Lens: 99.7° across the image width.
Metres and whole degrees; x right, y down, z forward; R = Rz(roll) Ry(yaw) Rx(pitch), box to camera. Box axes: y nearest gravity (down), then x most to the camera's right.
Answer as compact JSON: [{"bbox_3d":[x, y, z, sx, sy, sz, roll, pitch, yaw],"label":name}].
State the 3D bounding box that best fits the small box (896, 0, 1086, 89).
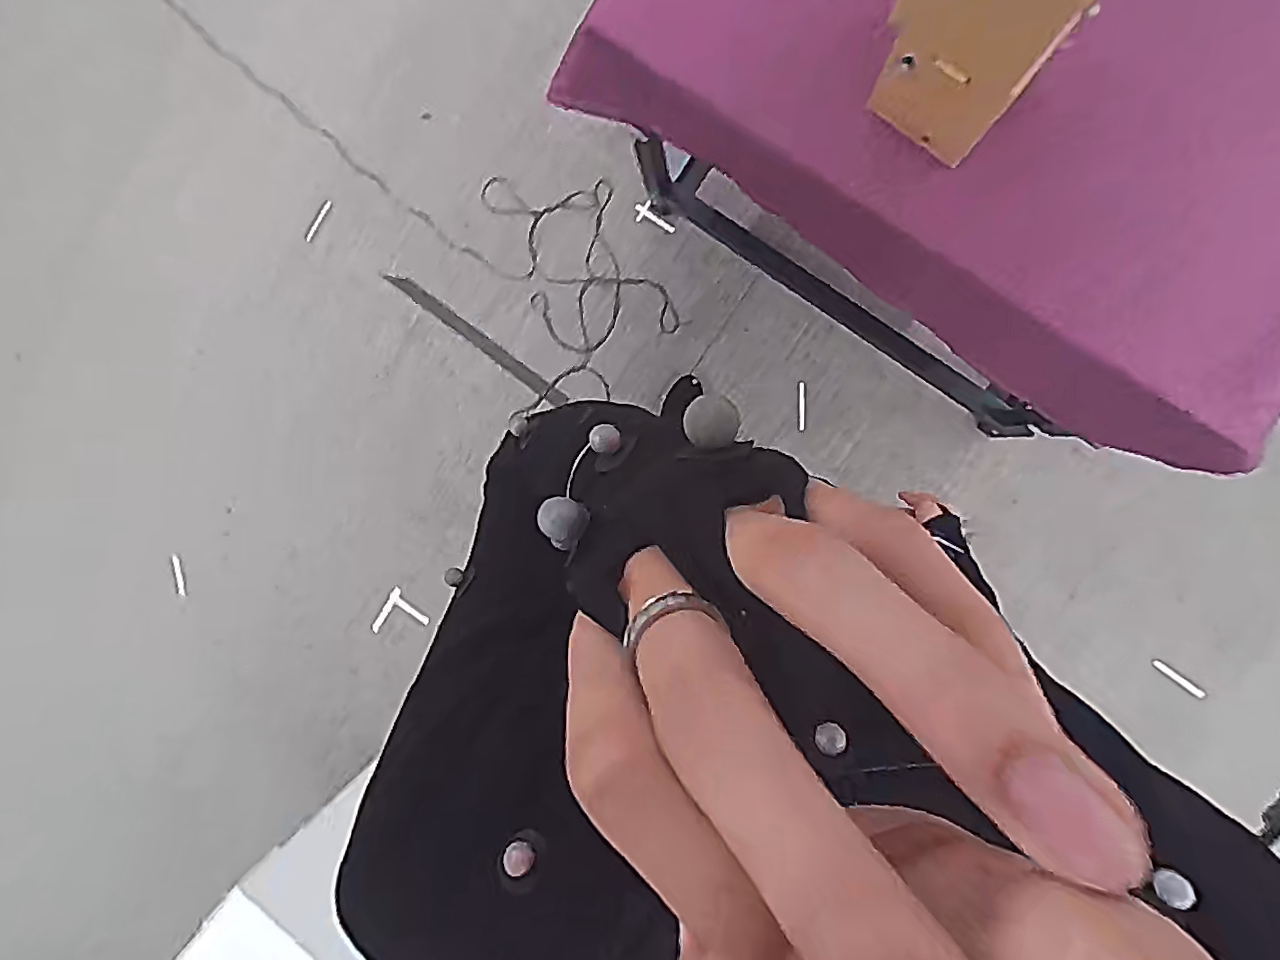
[{"bbox_3d":[0.410,-0.571,0.570,0.179,0.176,0.168,39,98,3],"label":"small box"}]
